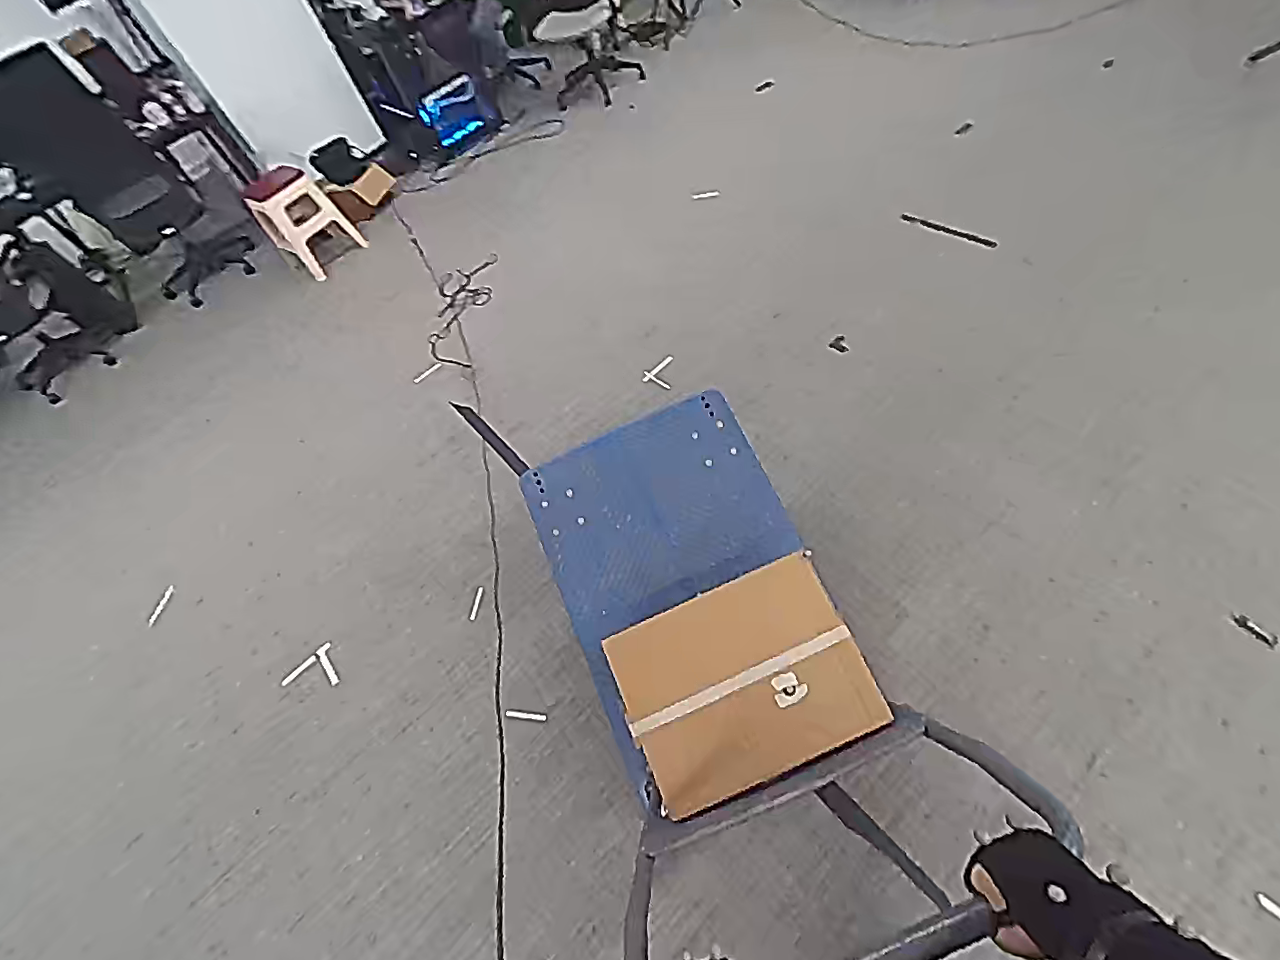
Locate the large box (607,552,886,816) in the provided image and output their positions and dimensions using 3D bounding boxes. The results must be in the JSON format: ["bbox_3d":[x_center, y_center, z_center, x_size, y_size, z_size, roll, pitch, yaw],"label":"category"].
[{"bbox_3d":[0.191,0.392,1.090,0.408,0.320,0.320,-25,73,-2],"label":"large box"}]
